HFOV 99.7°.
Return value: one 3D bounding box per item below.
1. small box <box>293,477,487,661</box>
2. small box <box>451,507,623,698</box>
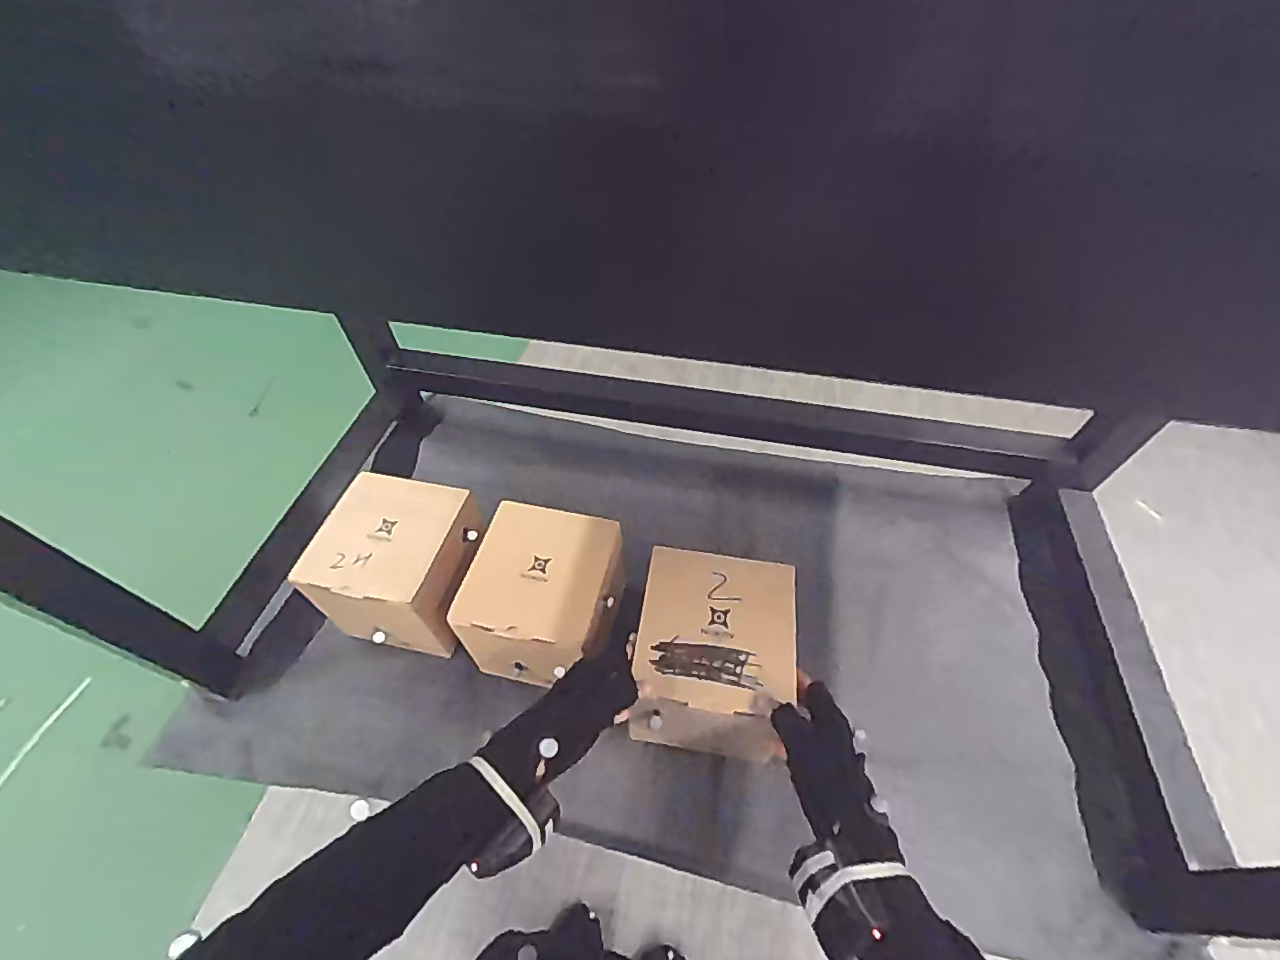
[{"bbox_3d":[-0.323,0.125,0.752,0.168,0.176,0.179,10,52,8],"label":"small box"},{"bbox_3d":[-0.121,0.165,0.720,0.168,0.176,0.179,10,53,8],"label":"small box"}]
